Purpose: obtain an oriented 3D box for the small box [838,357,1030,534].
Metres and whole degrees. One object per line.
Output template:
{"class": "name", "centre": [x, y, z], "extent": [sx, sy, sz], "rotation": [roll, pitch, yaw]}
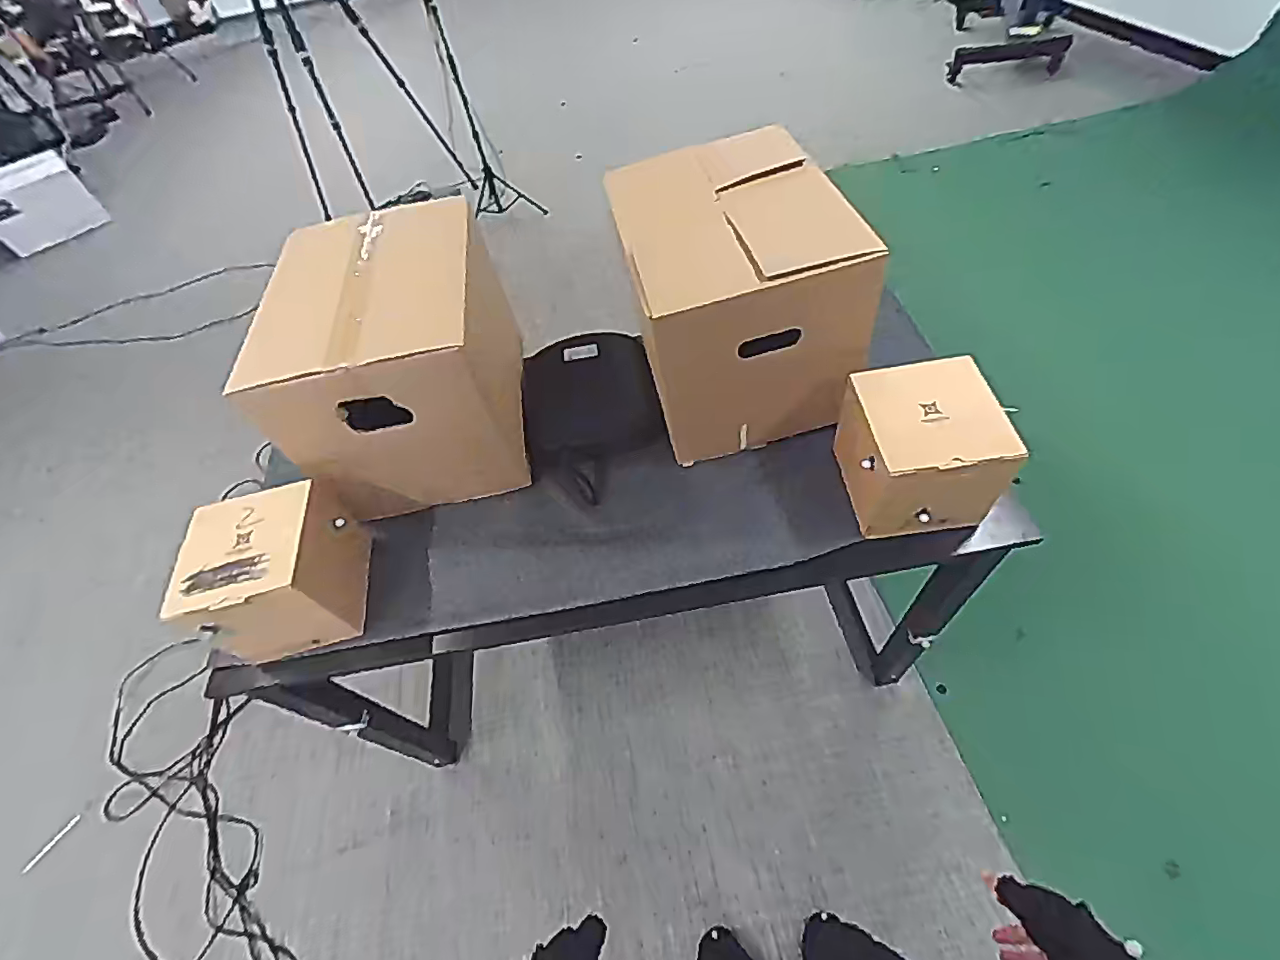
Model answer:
{"class": "small box", "centre": [0.393, -0.044, 0.764], "extent": [0.168, 0.176, 0.179], "rotation": [-8, 56, 5]}
